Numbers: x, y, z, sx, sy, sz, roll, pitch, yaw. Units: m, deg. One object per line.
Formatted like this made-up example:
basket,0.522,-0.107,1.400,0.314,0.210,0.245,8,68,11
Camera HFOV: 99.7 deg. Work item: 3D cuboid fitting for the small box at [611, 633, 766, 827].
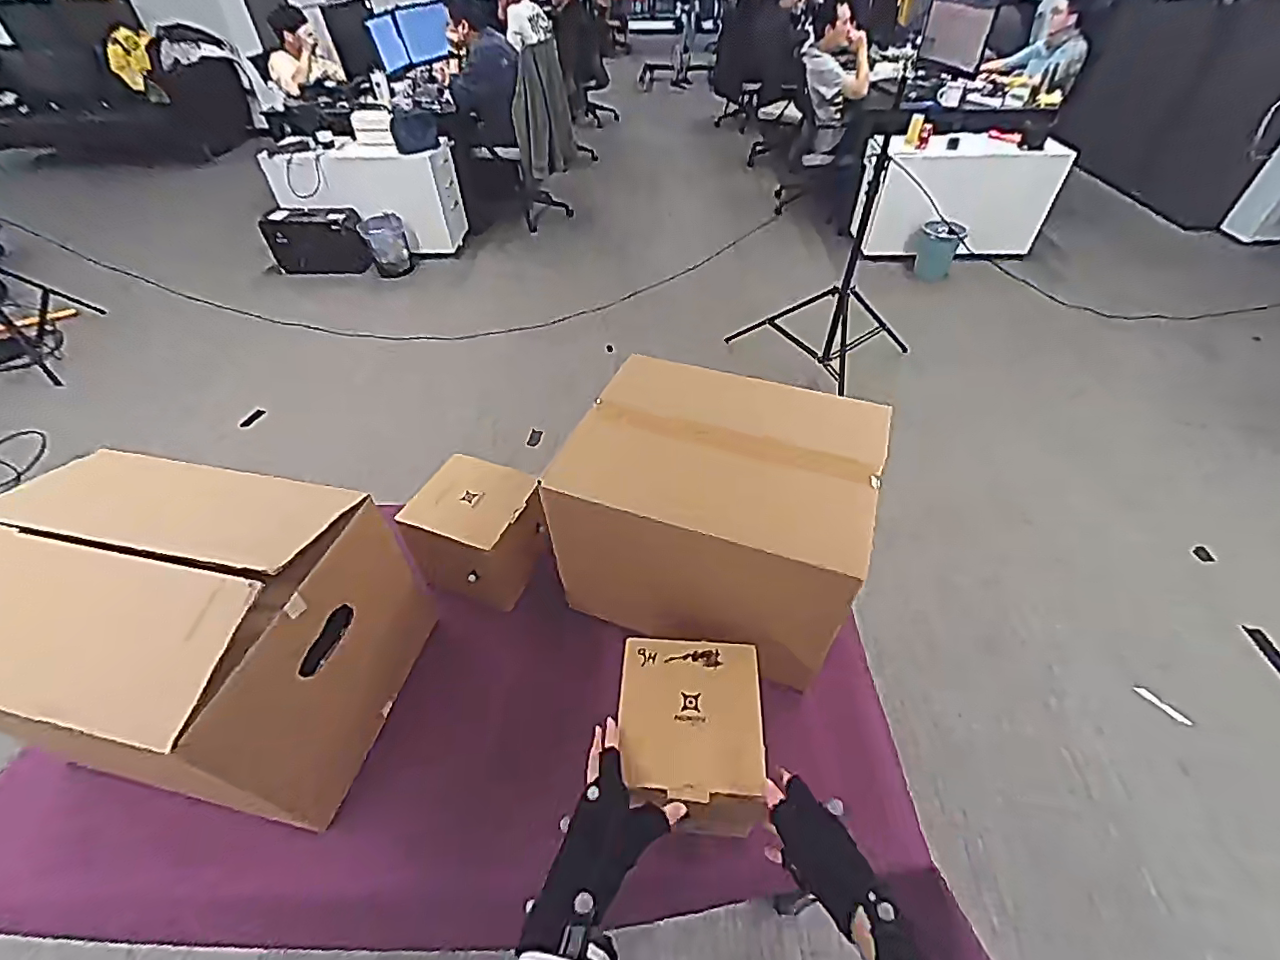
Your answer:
small box,0.060,0.314,0.676,0.168,0.176,0.179,3,46,4
